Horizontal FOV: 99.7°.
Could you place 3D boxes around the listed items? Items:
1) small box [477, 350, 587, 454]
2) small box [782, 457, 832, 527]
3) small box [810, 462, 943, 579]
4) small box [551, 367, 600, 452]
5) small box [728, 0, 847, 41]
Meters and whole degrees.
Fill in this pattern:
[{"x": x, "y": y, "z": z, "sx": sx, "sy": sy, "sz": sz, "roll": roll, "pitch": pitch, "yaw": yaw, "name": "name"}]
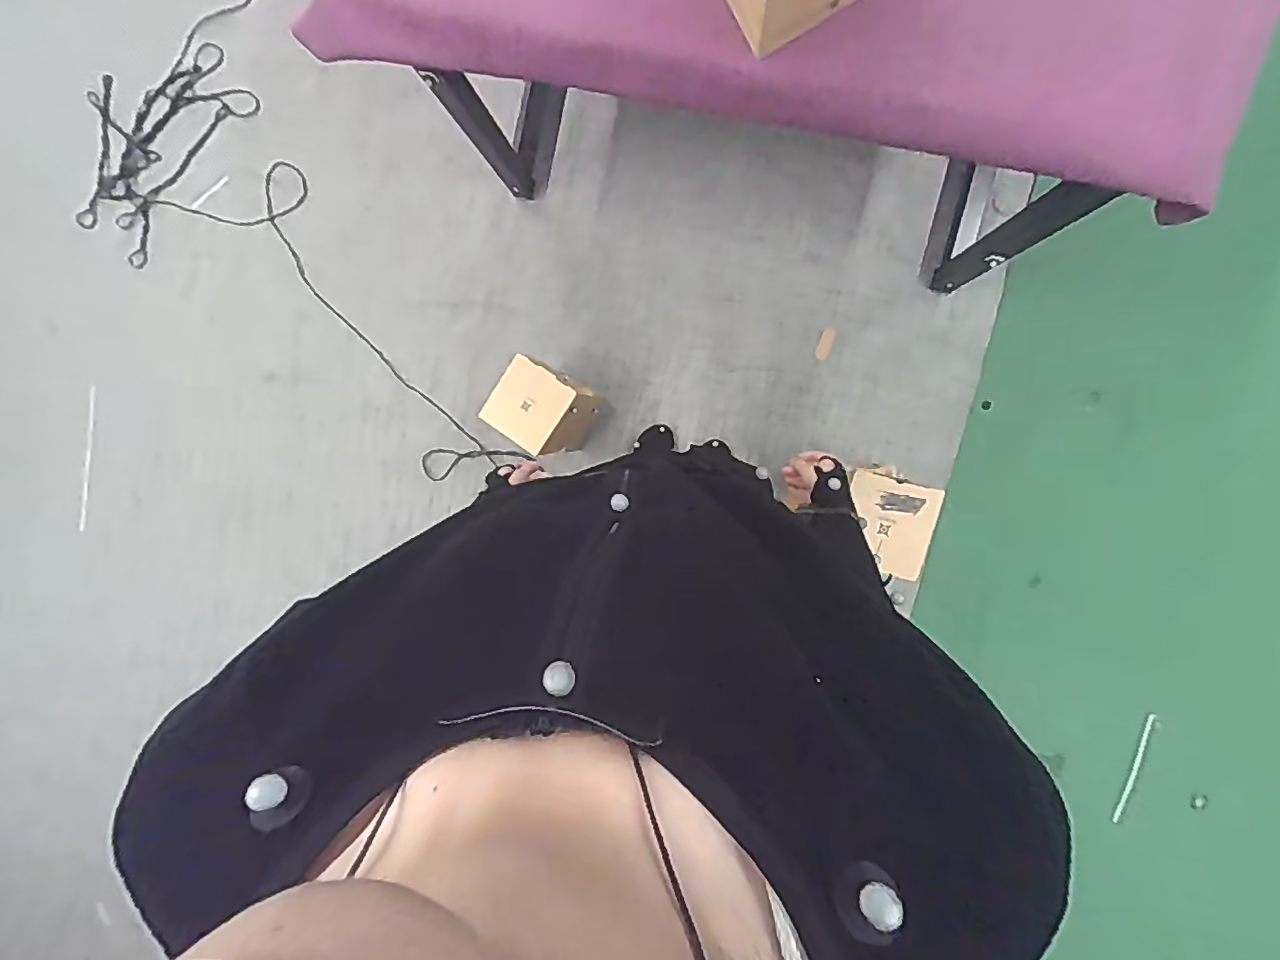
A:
[{"x": -0.245, "y": -0.178, "z": 1.279, "sx": 0.168, "sy": 0.176, "sz": 0.179, "roll": 35, "pitch": 97, "yaw": 3, "name": "small box"}, {"x": 0.482, "y": 0.048, "z": 1.387, "sx": 0.179, "sy": 0.176, "sz": 0.168, "roll": 24, "pitch": 97, "yaw": 4, "name": "small box"}, {"x": 0.450, "y": 0.070, "z": 1.060, "sx": 0.168, "sy": 0.176, "sz": 0.179, "roll": 16, "pitch": 98, "yaw": 4, "name": "small box"}, {"x": -0.219, "y": -0.191, "z": 1.438, "sx": 0.168, "sy": 0.176, "sz": 0.179, "roll": 29, "pitch": 98, "yaw": 3, "name": "small box"}, {"x": 0.179, "y": -0.662, "z": 0.620, "sx": 0.168, "sy": 0.176, "sz": 0.179, "roll": -27, "pitch": 91, "yaw": 6, "name": "small box"}]
